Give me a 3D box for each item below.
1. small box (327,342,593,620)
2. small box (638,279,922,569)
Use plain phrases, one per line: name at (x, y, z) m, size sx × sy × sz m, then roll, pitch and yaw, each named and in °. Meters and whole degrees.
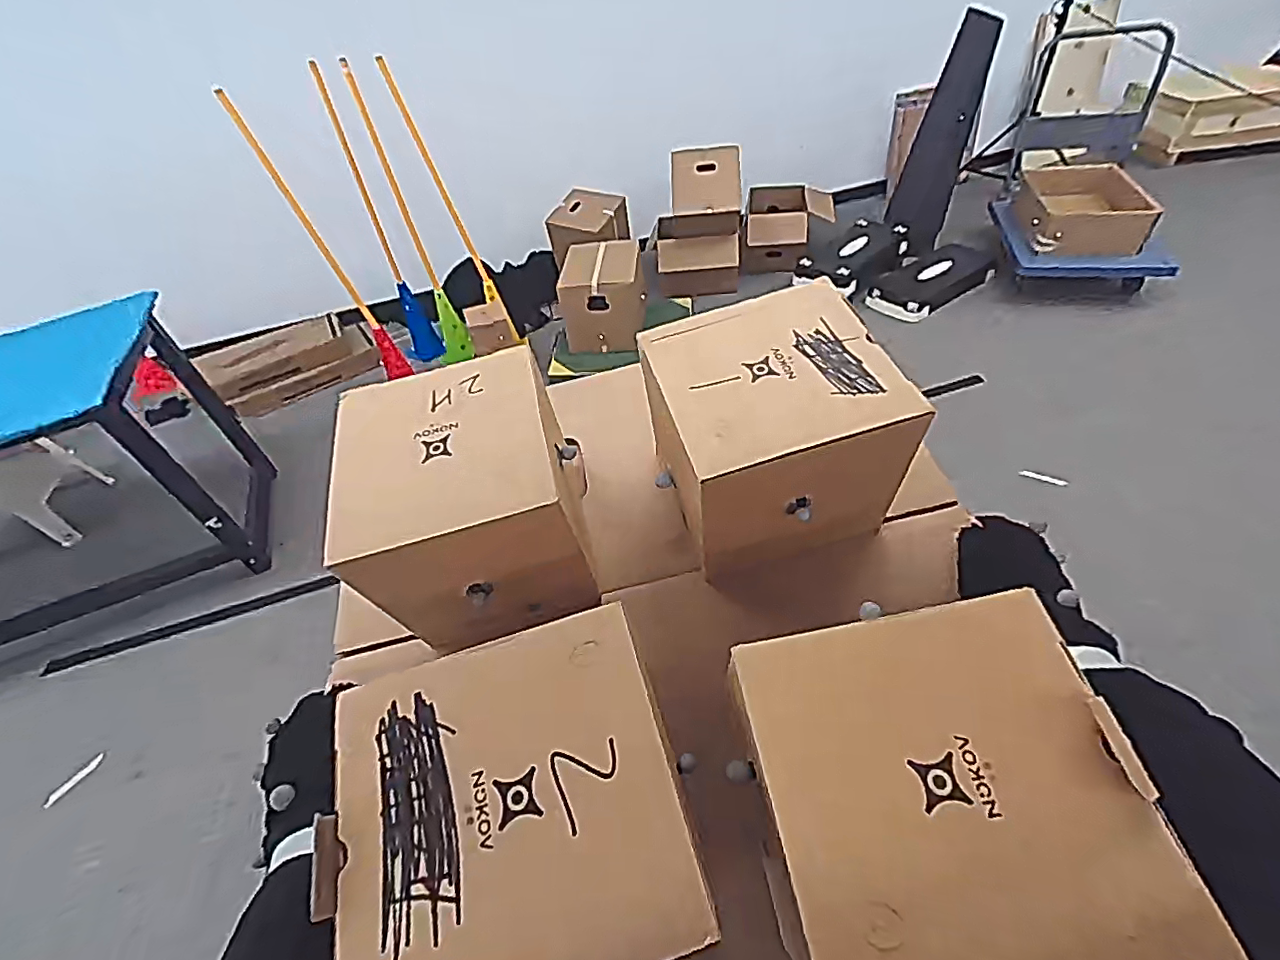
small box at (-0.147, 0.011, 0.489) m, size 0.168 × 0.176 × 0.179 m, roll -15°, pitch 55°, yaw -2°
small box at (0.108, -0.043, 0.487) m, size 0.179 × 0.176 × 0.168 m, roll -16°, pitch 55°, yaw -2°
